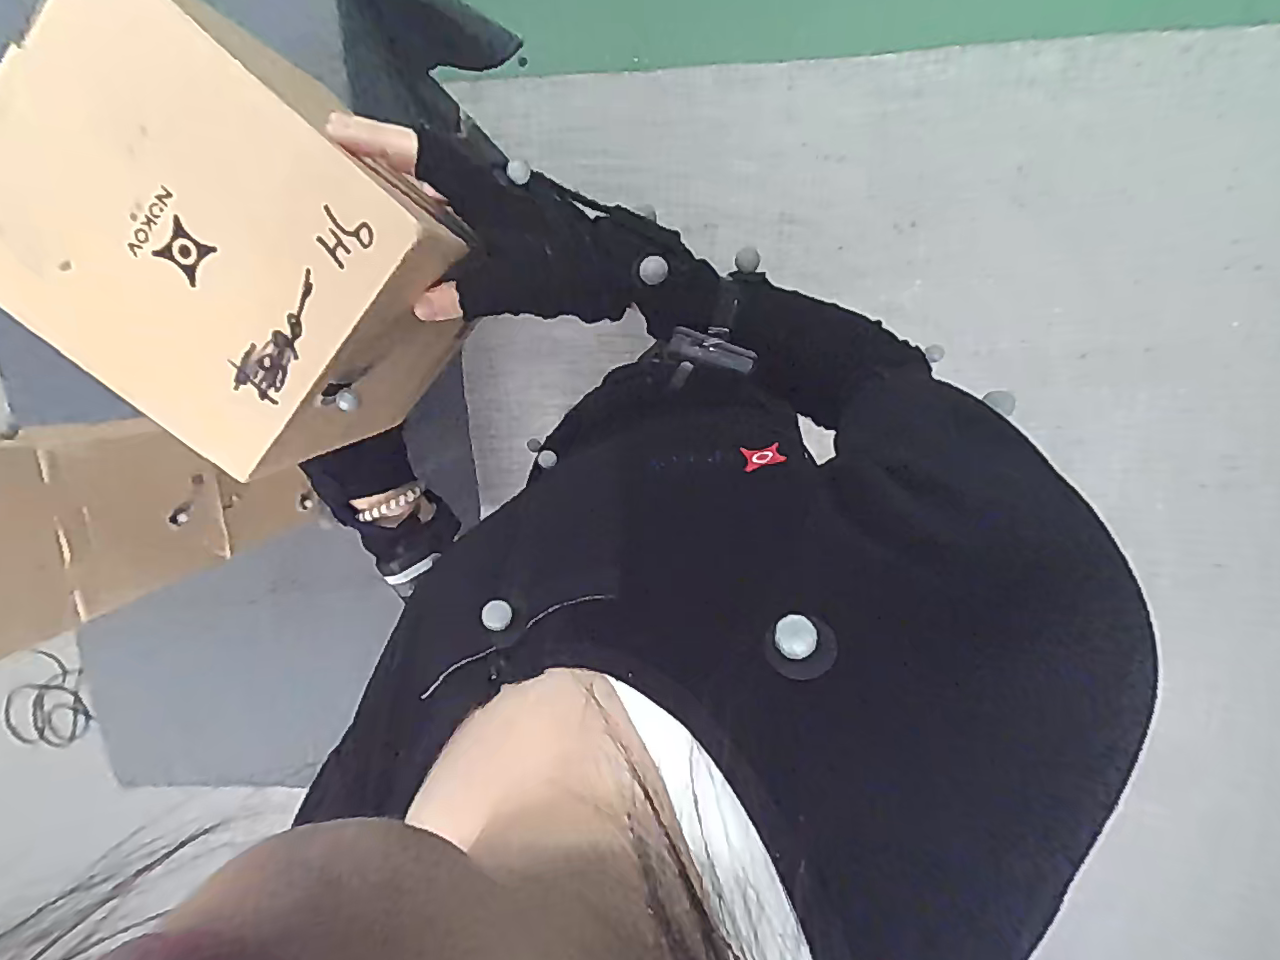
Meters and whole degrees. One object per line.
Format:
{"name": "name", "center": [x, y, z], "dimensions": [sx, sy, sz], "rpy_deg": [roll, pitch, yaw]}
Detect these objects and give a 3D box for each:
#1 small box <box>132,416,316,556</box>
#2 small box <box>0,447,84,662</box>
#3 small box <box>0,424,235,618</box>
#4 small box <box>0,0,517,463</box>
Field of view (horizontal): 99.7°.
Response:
{"name": "small box", "center": [-0.573, -0.003, 0.733], "dimensions": [0.179, 0.176, 0.168], "rpy_deg": [-1, 103, 7]}
{"name": "small box", "center": [-0.600, 0.067, 0.415], "dimensions": [0.168, 0.176, 0.179], "rpy_deg": [1, 103, 5]}
{"name": "small box", "center": [-0.588, 0.032, 0.576], "dimensions": [0.179, 0.176, 0.168], "rpy_deg": [-1, 103, 5]}
{"name": "small box", "center": [-0.208, -0.139, 0.336], "dimensions": [0.179, 0.176, 0.168], "rpy_deg": [42, 104, -8]}
